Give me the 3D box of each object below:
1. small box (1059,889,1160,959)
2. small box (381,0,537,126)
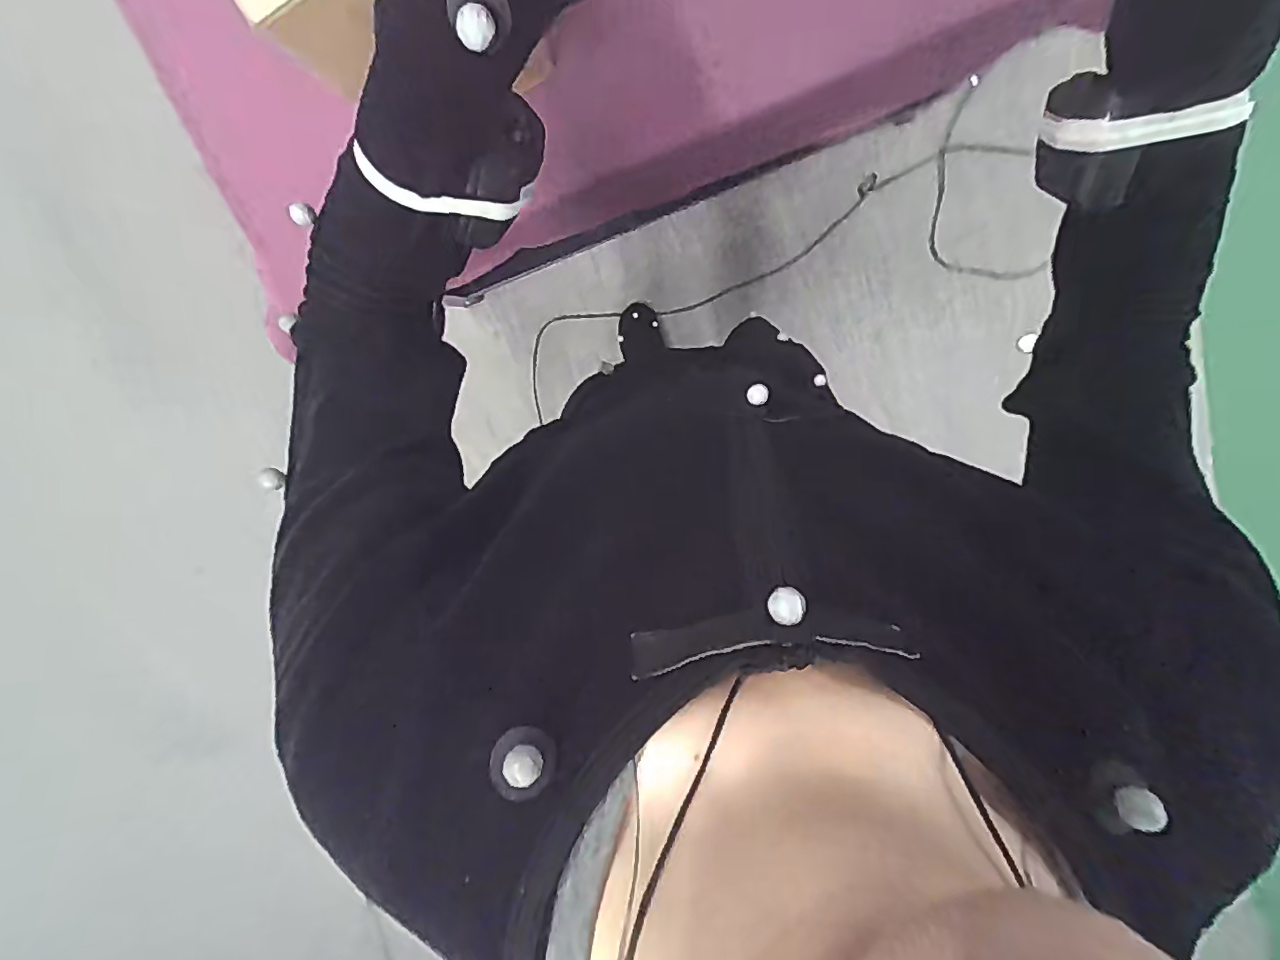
[{"bbox_3d":[1.438,1.412,1.657,0.168,0.176,0.179,-23,105,4],"label":"small box"},{"bbox_3d":[-0.217,-0.477,0.518,0.168,0.176,0.179,-28,105,6],"label":"small box"}]
